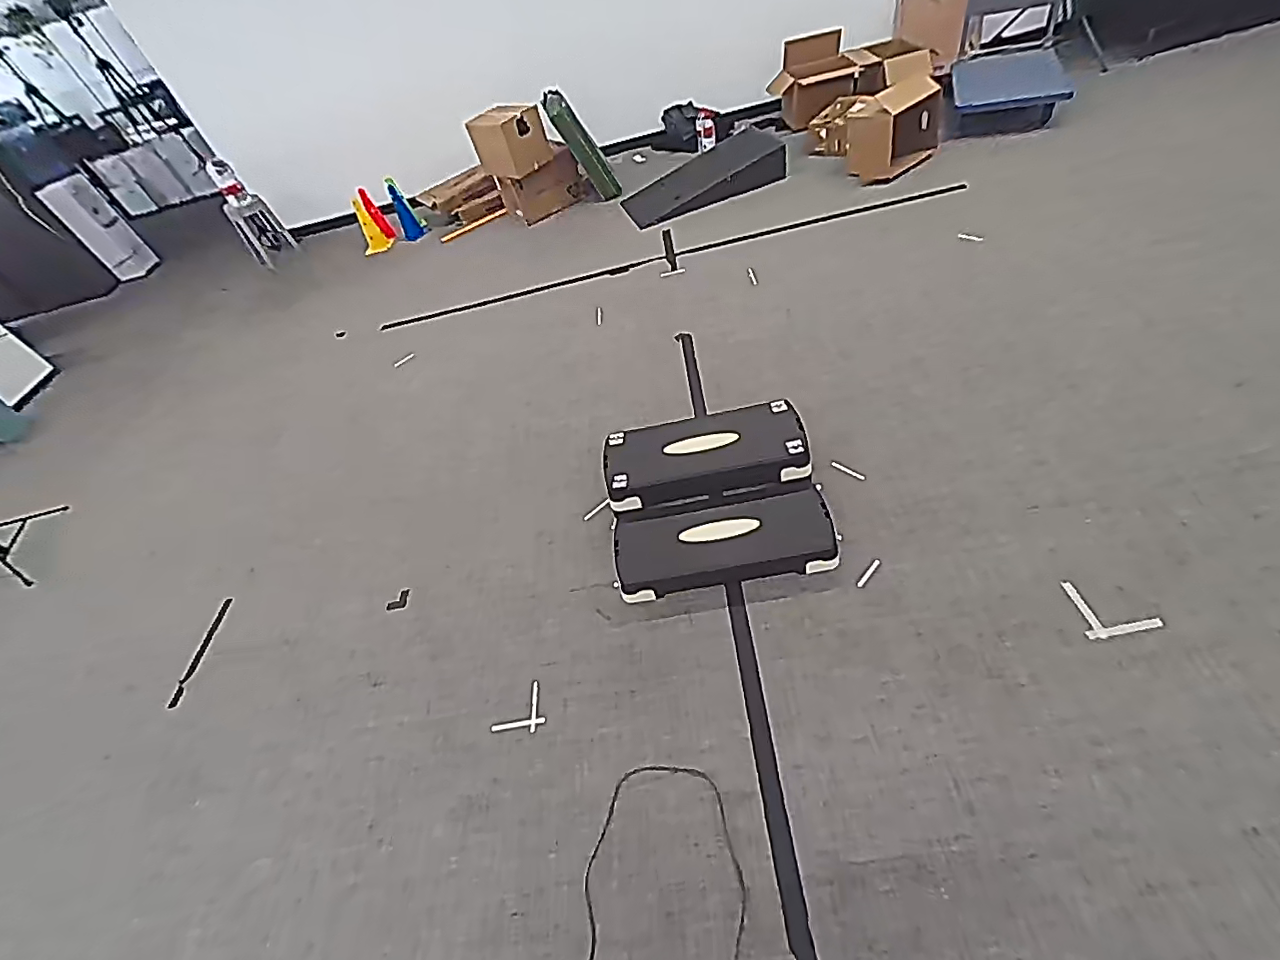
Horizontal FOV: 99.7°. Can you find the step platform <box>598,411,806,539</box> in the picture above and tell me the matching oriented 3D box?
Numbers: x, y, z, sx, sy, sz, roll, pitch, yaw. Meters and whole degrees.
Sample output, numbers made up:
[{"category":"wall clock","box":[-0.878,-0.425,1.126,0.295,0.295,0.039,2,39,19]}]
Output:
[{"category":"step platform","box":[0.199,-0.022,1.831,0.684,0.204,0.286,-11,48,5]}]
